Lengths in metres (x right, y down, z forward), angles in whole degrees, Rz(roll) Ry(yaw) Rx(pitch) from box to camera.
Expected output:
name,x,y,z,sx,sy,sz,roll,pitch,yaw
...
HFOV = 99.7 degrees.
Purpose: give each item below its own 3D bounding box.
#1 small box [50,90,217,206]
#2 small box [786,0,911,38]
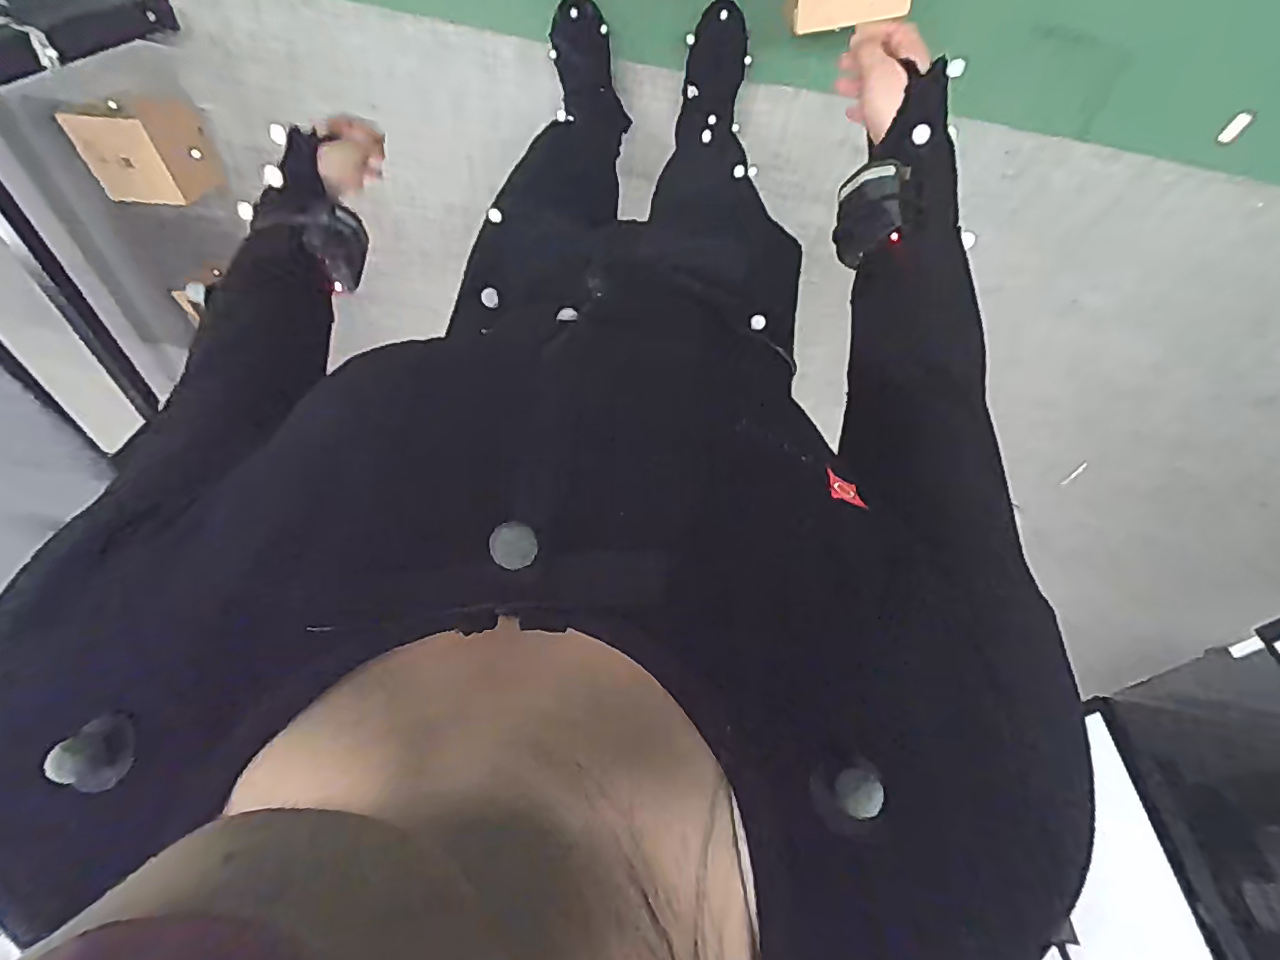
name,x,y,z,sx,sy,sz,roll,pitch,yaw
small box,-1.064,-0.715,1.162,0.179,0.176,0.168,5,139,1
small box,0.331,-0.832,0.857,0.179,0.176,0.168,-2,139,9
